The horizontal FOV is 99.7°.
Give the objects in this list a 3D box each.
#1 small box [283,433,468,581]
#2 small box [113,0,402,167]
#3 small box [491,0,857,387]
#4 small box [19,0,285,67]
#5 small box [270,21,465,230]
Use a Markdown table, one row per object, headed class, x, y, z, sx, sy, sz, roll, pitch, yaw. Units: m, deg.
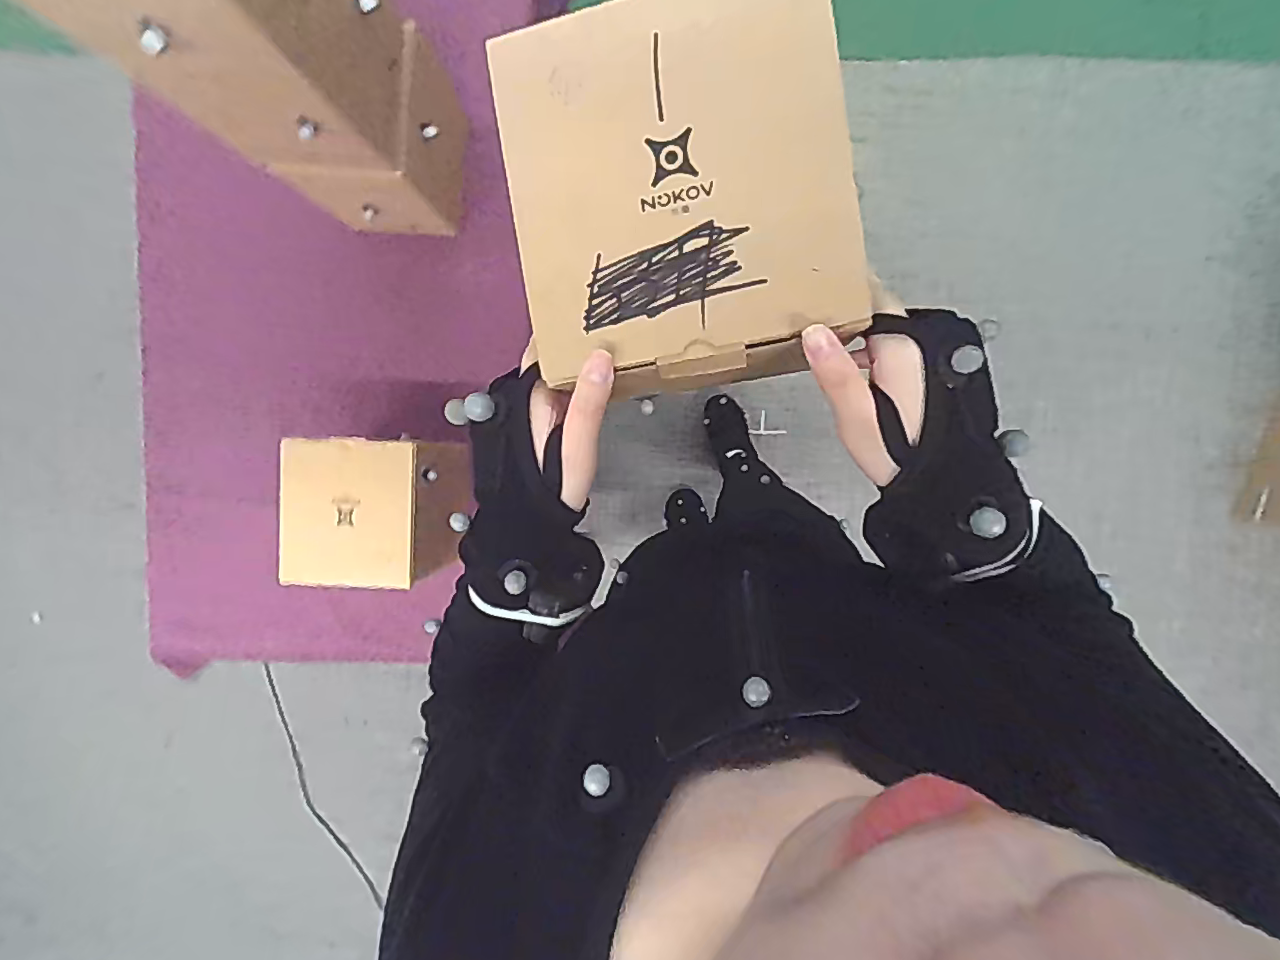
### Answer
| class | x | y | z | sx | sy | sz | roll | pitch | yaw |
| --- | --- | --- | --- | --- | --- | --- | --- | --- | --- |
| small box | -0.343 | 0.029 | 0.728 | 0.168 | 0.176 | 0.179 | 2 | 92 | 5 |
| small box | -0.365 | -0.443 | 0.545 | 0.179 | 0.176 | 0.168 | 6 | 92 | 5 |
| small box | 0.030 | -0.158 | 0.344 | 0.168 | 0.176 | 0.179 | -8 | 93 | 12 |
| small box | -0.380 | -0.433 | 0.382 | 0.179 | 0.176 | 0.168 | 5 | 92 | 4 |
| small box | -0.342 | -0.449 | 0.707 | 0.168 | 0.176 | 0.179 | 6 | 93 | 4 |
